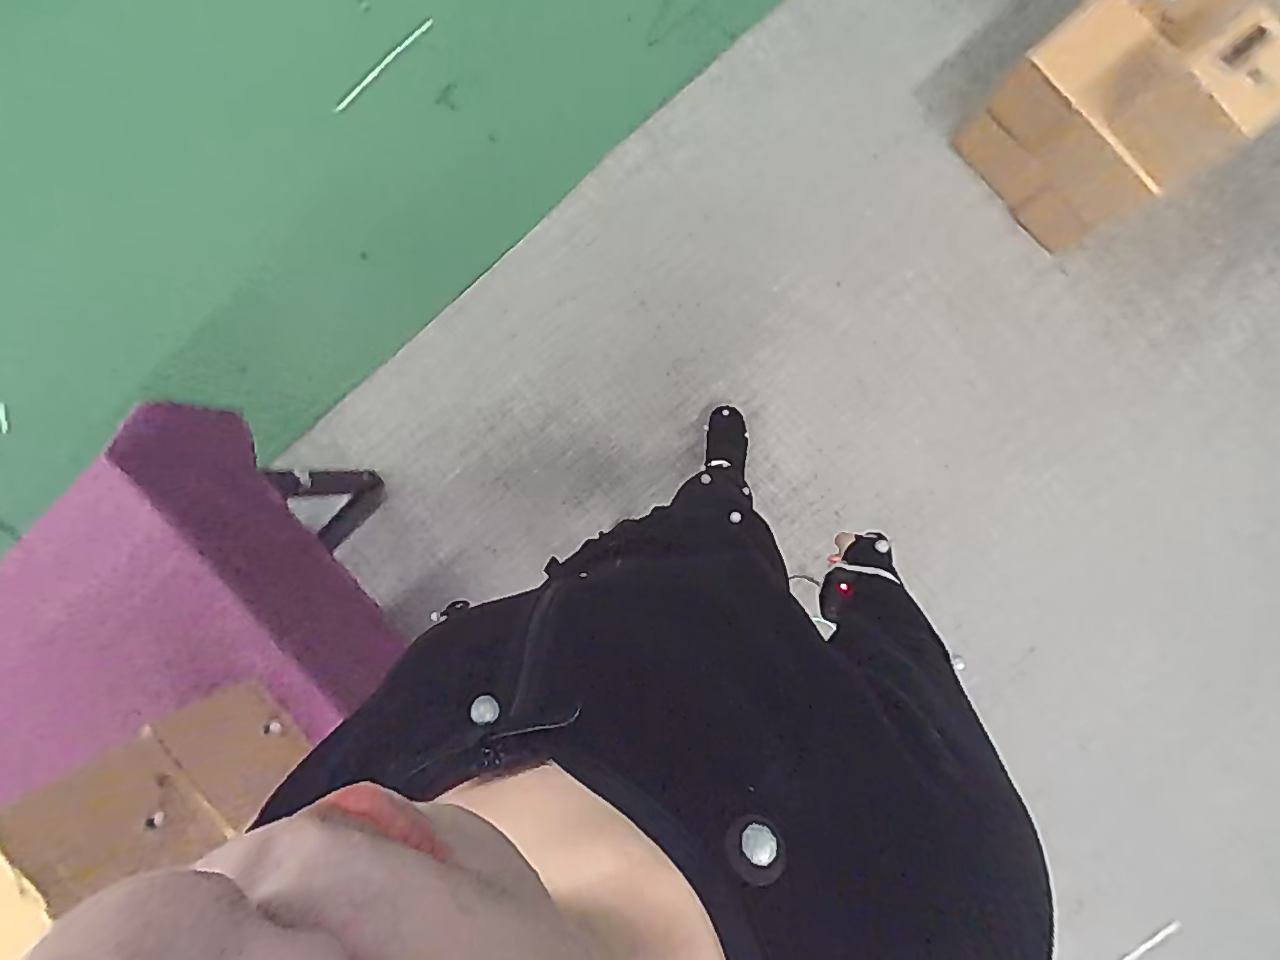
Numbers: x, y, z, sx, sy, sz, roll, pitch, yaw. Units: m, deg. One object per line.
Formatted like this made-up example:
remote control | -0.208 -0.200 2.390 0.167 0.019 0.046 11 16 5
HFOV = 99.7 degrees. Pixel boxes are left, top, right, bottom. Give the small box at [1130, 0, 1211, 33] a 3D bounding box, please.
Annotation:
small box | 1.085 -1.025 1.028 0.179 0.176 0.168 -40 87 0

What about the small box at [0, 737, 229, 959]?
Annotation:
small box | -0.612 0.427 0.587 0.179 0.176 0.168 -41 88 3

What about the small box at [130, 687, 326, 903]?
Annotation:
small box | -0.593 0.415 0.749 0.168 0.176 0.179 -42 87 4
